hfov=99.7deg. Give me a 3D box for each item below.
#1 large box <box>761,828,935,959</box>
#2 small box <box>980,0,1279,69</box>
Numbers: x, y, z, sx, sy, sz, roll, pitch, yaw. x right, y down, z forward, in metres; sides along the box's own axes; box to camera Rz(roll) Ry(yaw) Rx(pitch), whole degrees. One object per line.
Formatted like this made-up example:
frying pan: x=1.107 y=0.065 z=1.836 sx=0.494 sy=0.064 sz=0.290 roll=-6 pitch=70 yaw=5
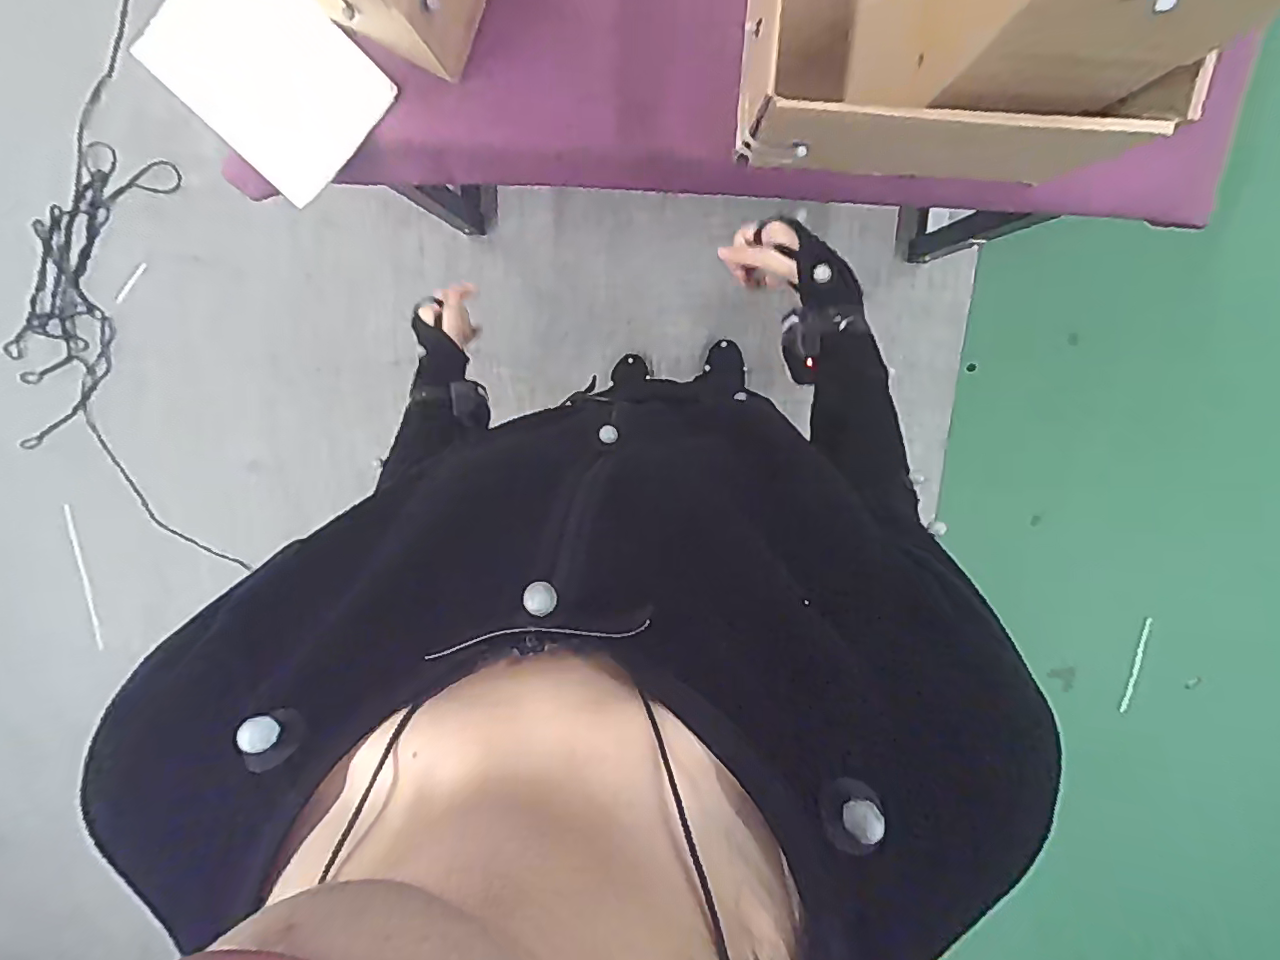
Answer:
large box: x=0.617 y=1.334 z=1.640 sx=0.408 sy=0.320 sz=0.320 roll=-11 pitch=102 yaw=3
small box: x=0.379 y=-0.415 z=0.367 sx=0.179 sy=0.176 sz=0.168 roll=7 pitch=102 yaw=3
